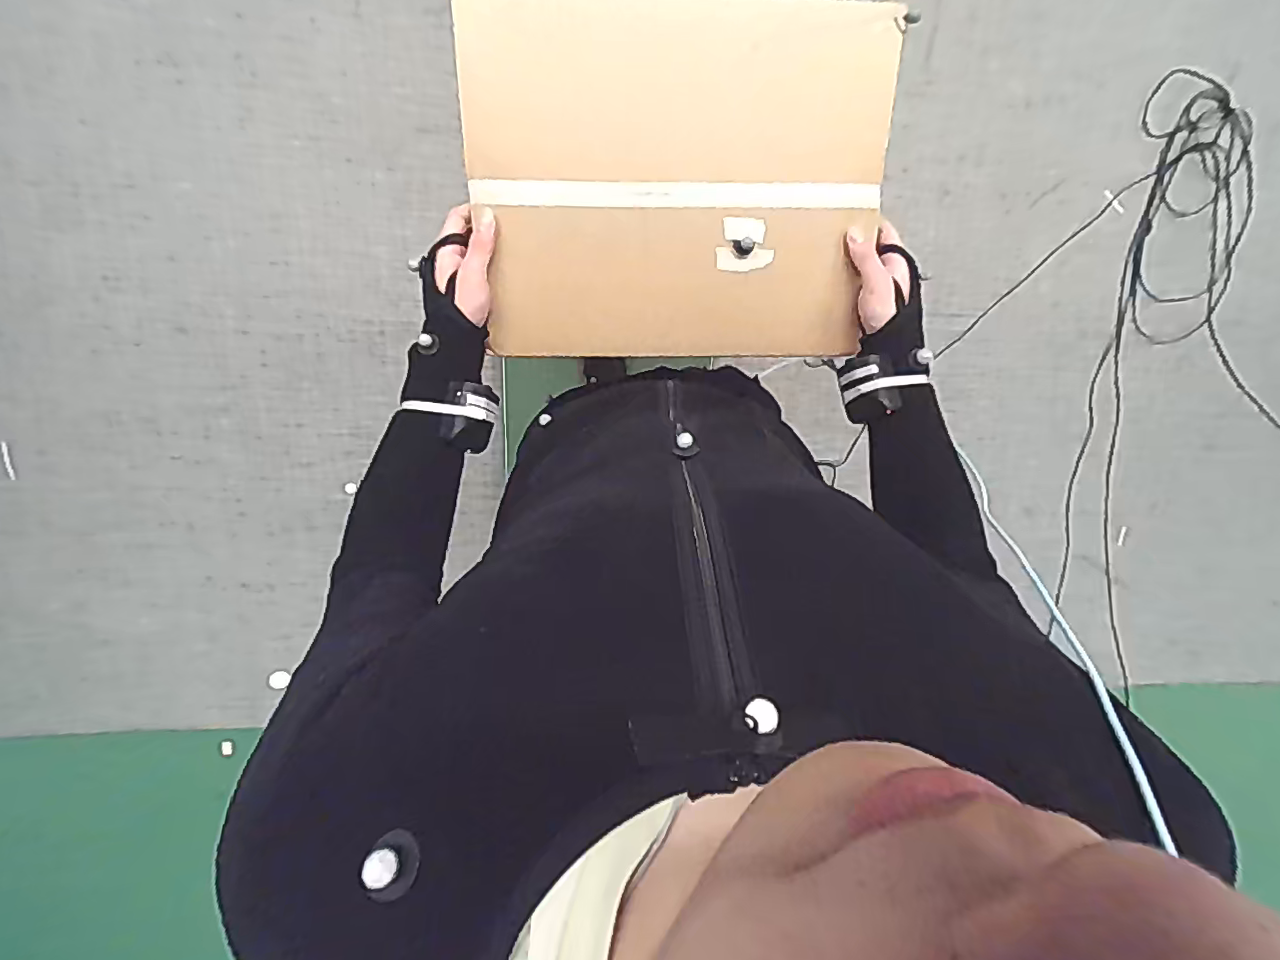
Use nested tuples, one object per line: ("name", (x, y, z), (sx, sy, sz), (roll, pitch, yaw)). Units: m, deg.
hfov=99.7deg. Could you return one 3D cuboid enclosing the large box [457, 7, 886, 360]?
("large box", (0.024, -0.332, 0.682), (0.408, 0.320, 0.320), (-2, 111, -4))
